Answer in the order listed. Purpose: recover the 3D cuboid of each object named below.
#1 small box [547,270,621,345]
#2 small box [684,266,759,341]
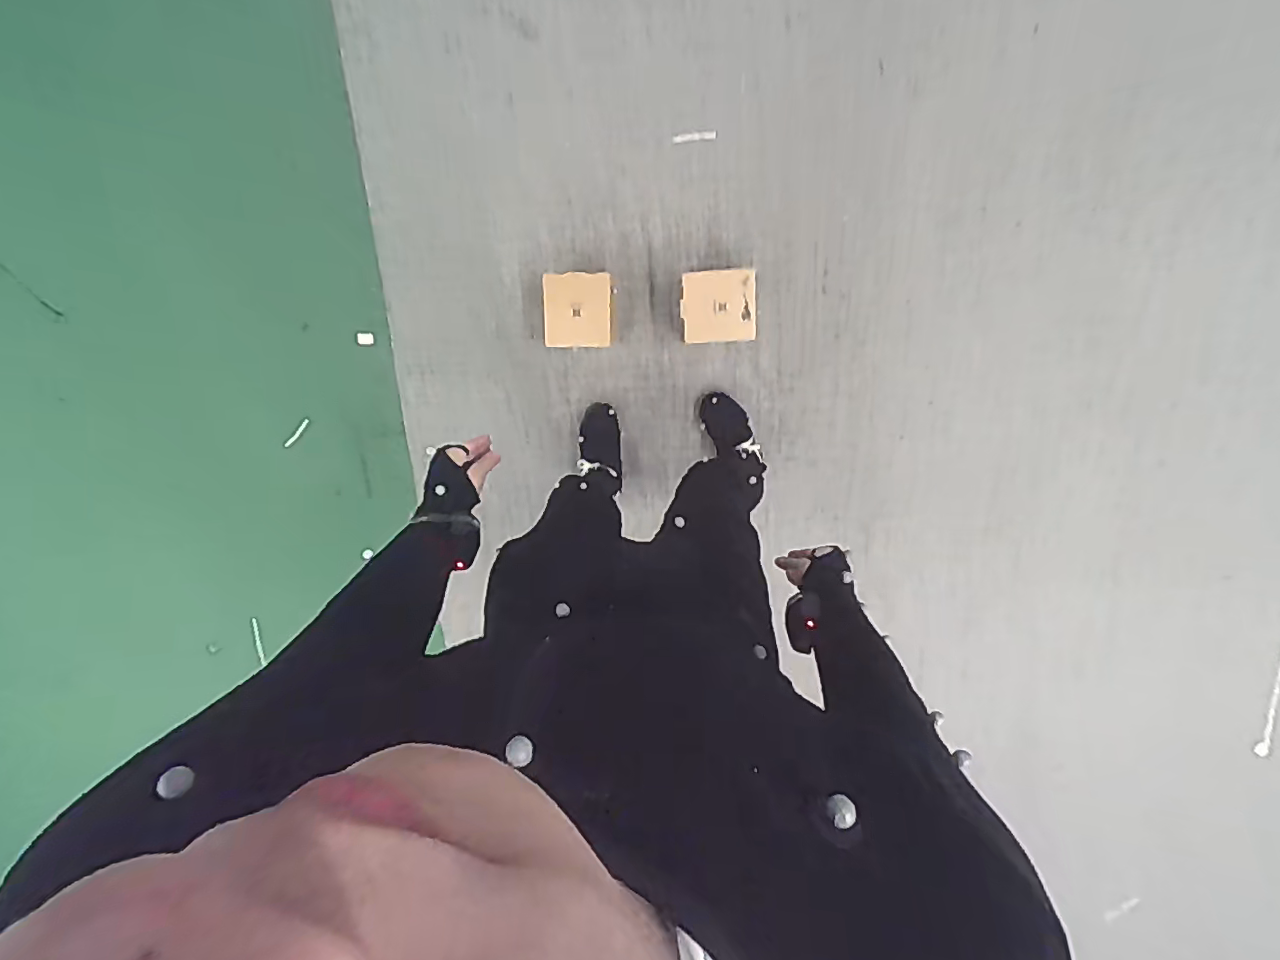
[{"bbox_3d":[-0.138,-0.441,1.400,0.168,0.176,0.179,1,103,5],"label":"small box"},{"bbox_3d":[0.203,-0.439,1.367,0.179,0.176,0.168,-1,104,6],"label":"small box"}]
